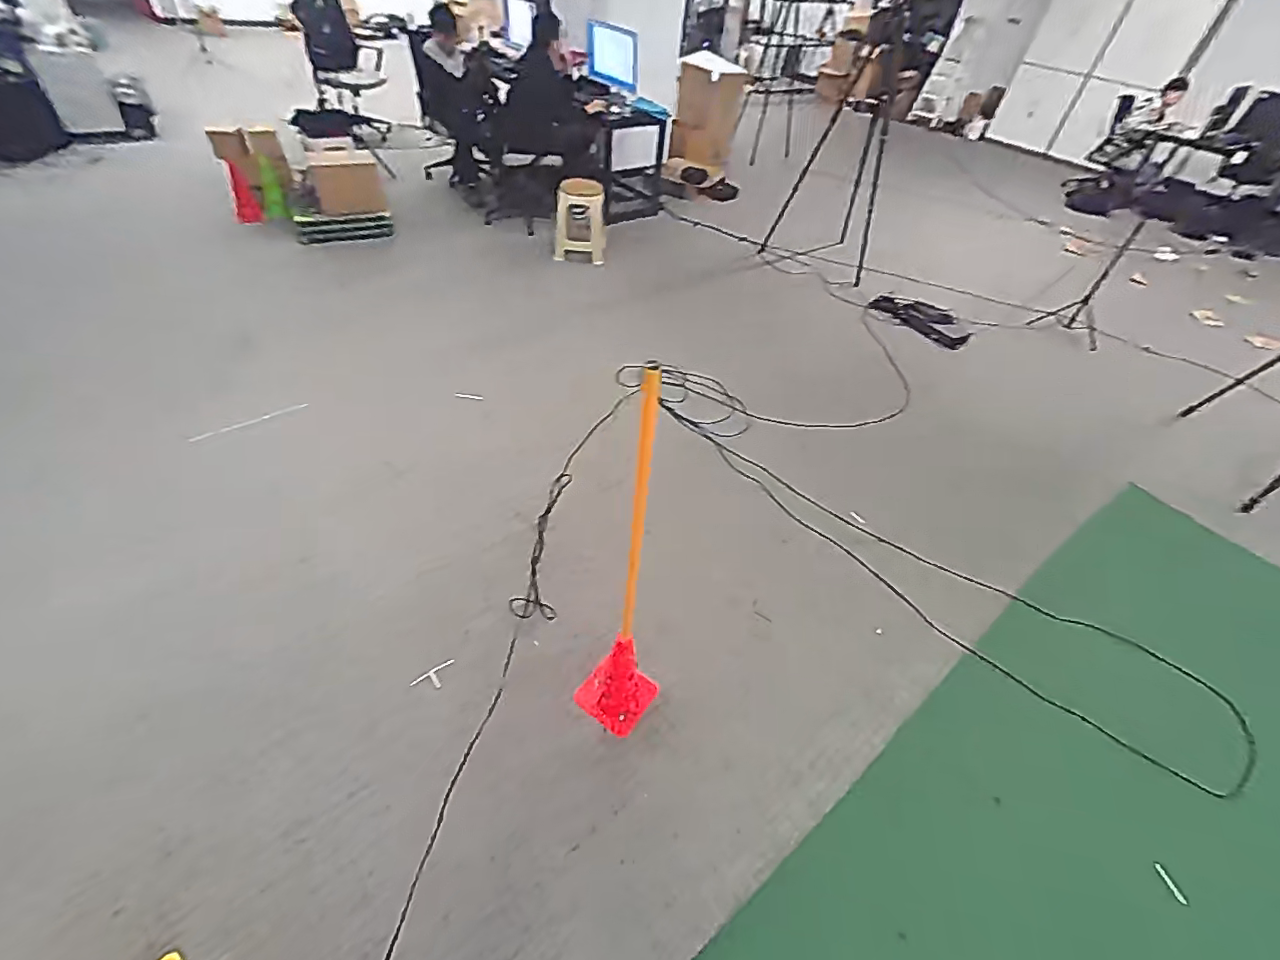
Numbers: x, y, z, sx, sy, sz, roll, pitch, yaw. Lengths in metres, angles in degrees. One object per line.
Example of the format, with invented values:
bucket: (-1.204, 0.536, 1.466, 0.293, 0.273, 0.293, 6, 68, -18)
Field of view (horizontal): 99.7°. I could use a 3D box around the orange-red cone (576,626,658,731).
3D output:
orange-red cone: (-0.050, 0.520, 1.535, 0.198, 0.360, 0.199, 32, 48, 21)
